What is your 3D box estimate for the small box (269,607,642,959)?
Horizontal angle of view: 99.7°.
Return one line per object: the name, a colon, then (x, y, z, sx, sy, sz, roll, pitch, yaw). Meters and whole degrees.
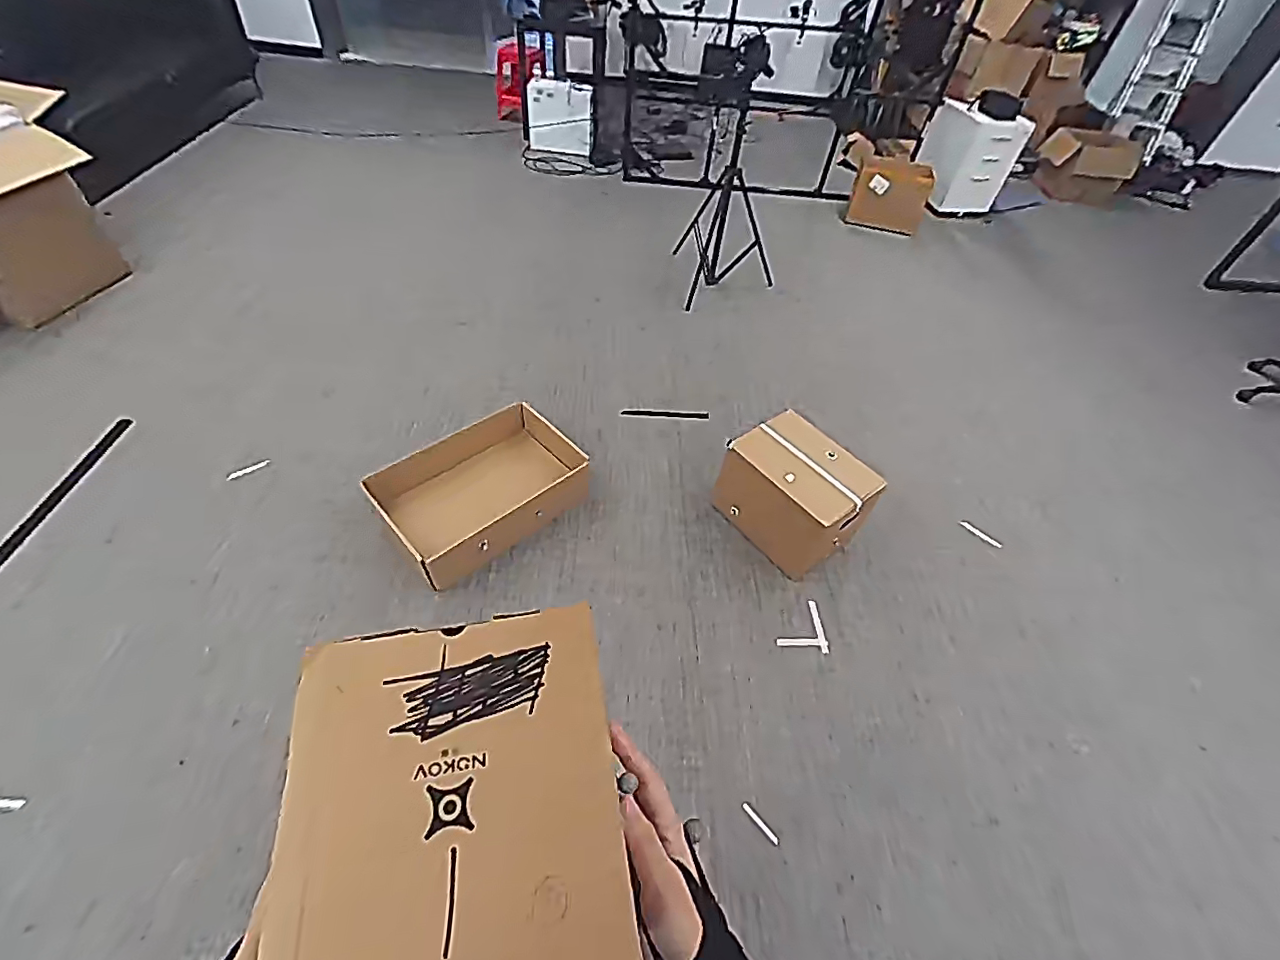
small box: (-0.098, 0.203, 0.346, 0.168, 0.176, 0.179, -8, 58, -8)
